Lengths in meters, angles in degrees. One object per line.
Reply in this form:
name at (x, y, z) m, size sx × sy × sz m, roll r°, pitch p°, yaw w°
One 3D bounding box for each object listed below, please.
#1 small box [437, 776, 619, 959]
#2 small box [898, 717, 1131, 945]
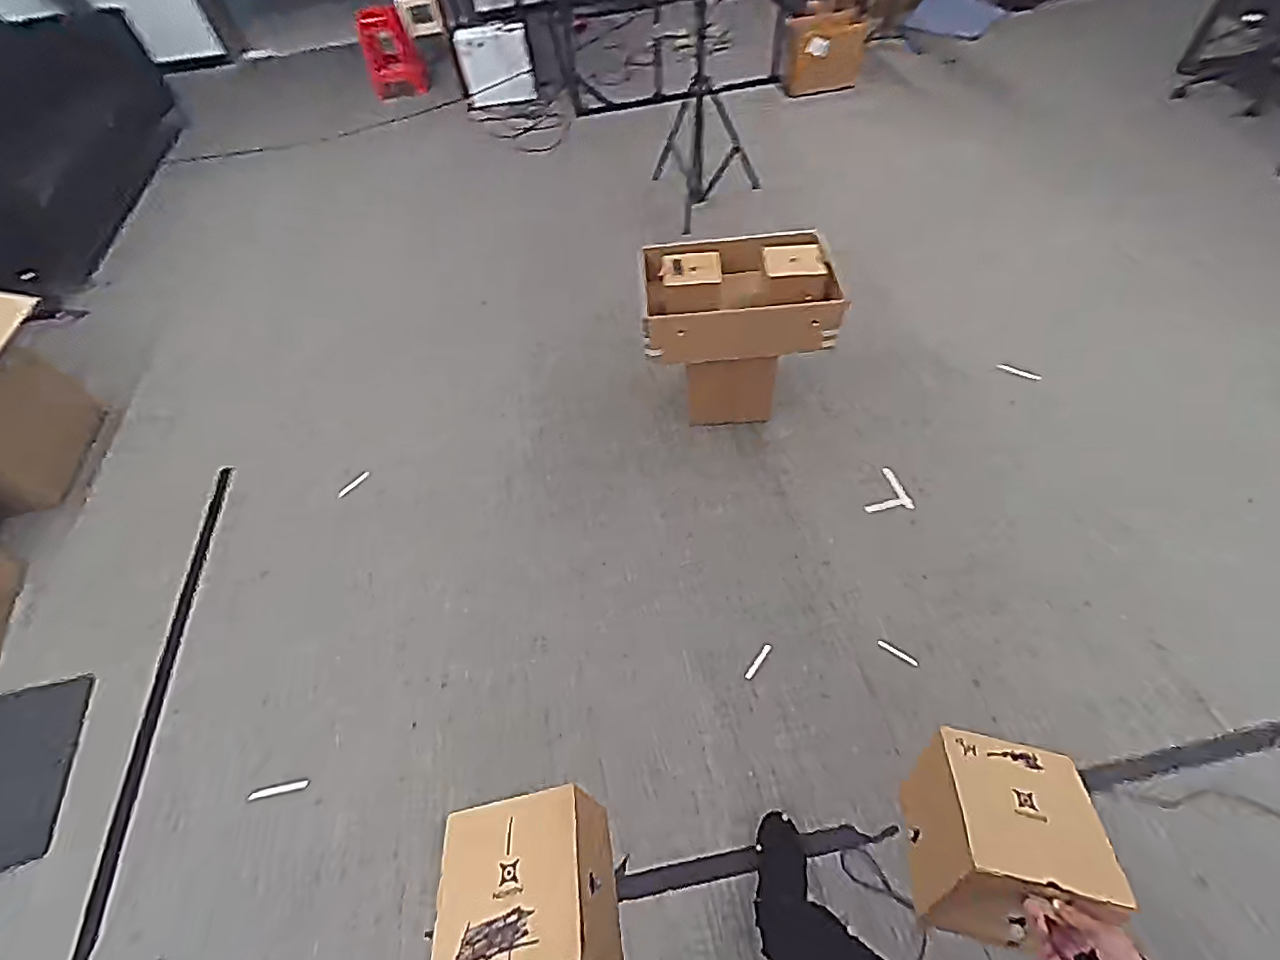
small box at (-0.130, 0.498, 0.670) m, size 0.168 × 0.176 × 0.179 m, roll -15°, pitch 47°, yaw 2°
small box at (0.450, 0.444, 0.688) m, size 0.168 × 0.176 × 0.179 m, roll 11°, pitch 35°, yaw 9°
